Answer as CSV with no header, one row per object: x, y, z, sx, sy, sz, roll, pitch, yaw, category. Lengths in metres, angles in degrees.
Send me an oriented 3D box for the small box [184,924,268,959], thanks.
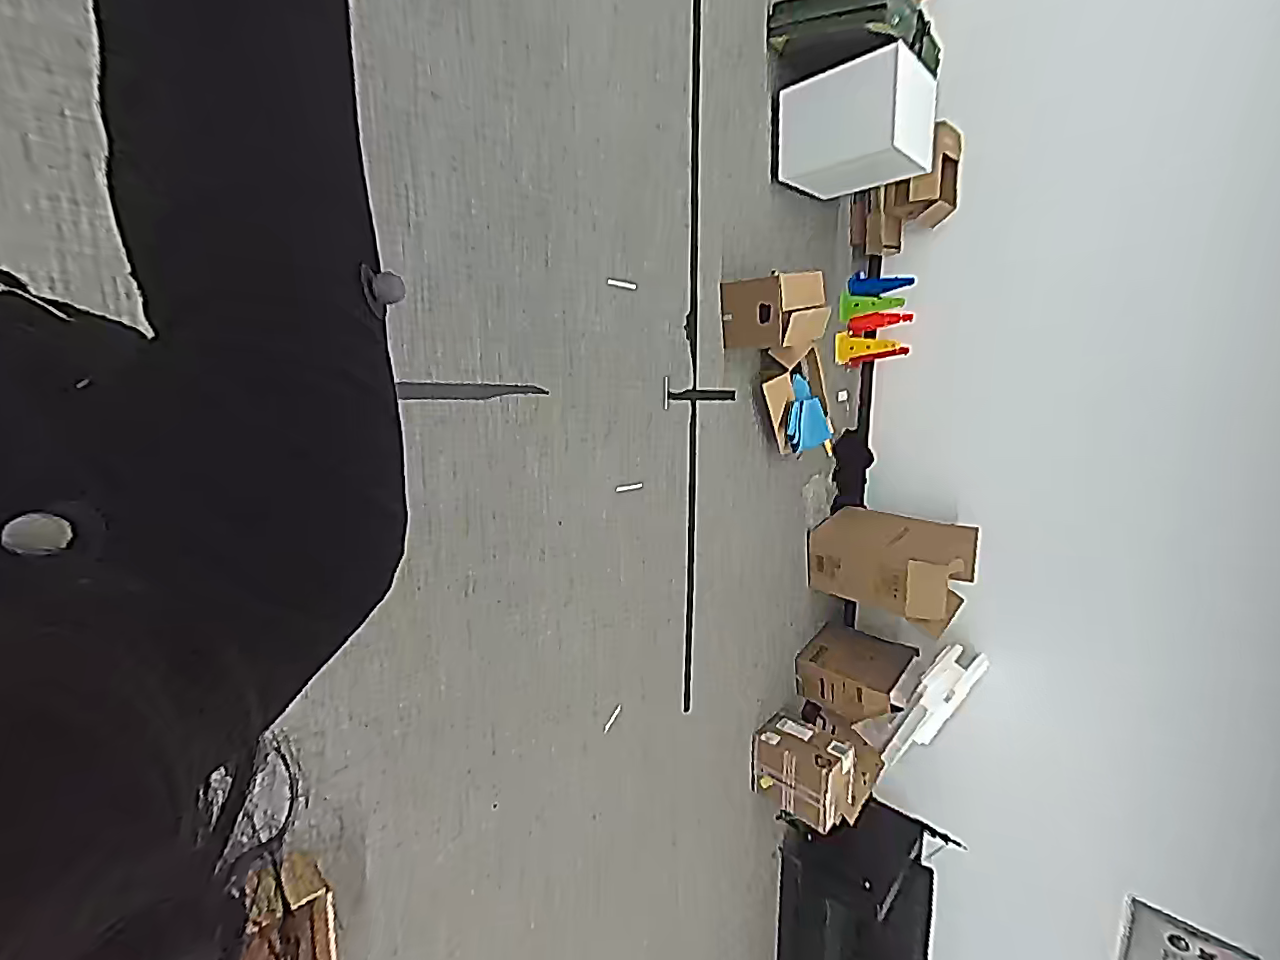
-0.972,1.215,1.270,0.168,0.176,0.179,-11,105,-45,small box
